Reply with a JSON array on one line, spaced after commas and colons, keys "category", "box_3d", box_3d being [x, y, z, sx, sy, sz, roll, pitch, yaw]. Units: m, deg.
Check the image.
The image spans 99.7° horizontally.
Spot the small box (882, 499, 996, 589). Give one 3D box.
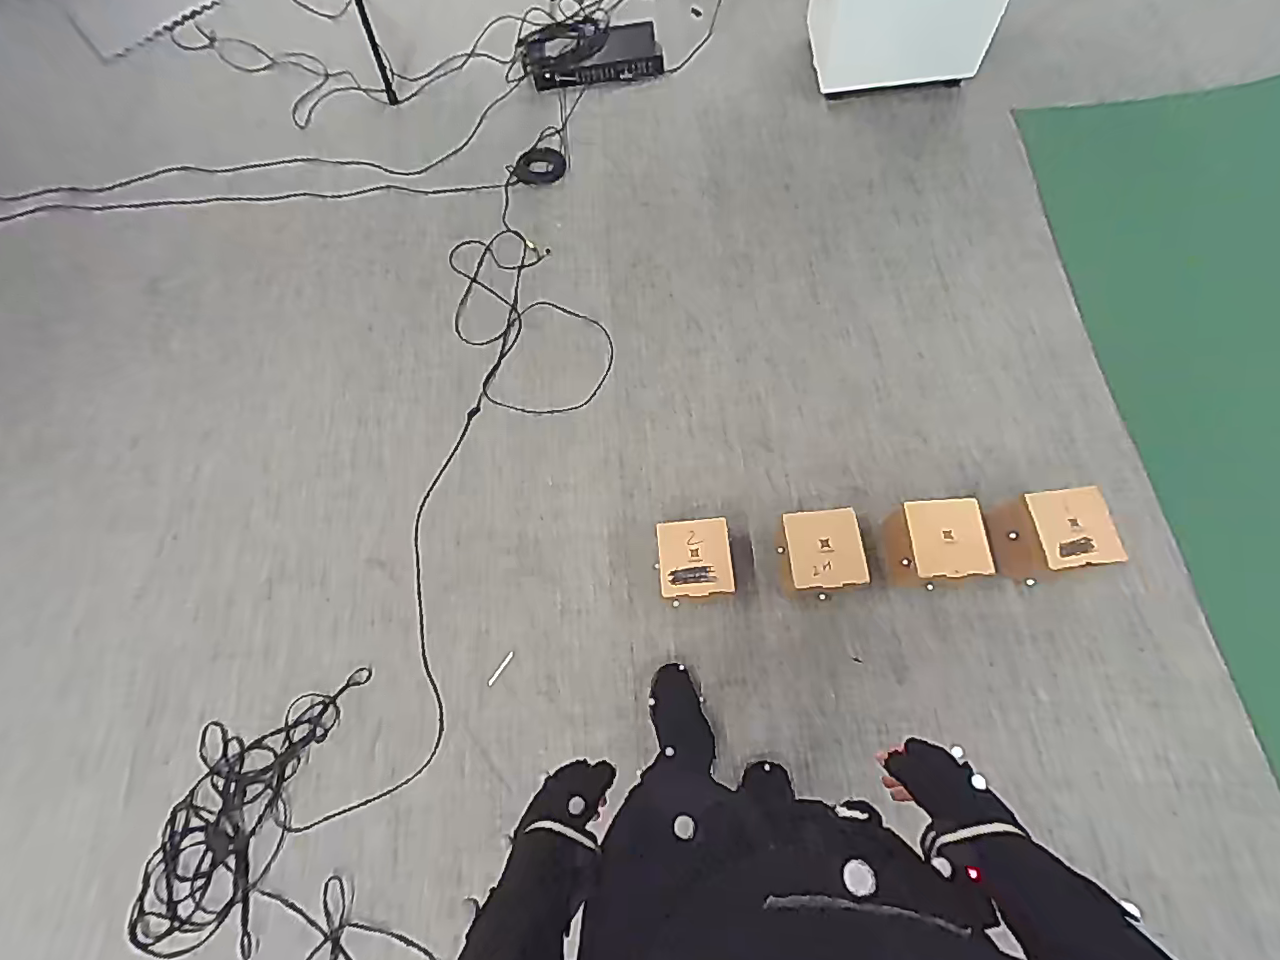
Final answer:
[{"category": "small box", "box_3d": [0.692, 0.155, 1.275, 0.168, 0.176, 0.179, -4, 70, 4]}]

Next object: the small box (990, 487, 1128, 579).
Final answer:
[{"category": "small box", "box_3d": [0.960, 0.131, 1.257, 0.168, 0.176, 0.179, -7, 69, 3]}]

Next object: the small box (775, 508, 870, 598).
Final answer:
[{"category": "small box", "box_3d": [0.425, 0.178, 1.289, 0.168, 0.176, 0.179, -6, 70, 5]}]
